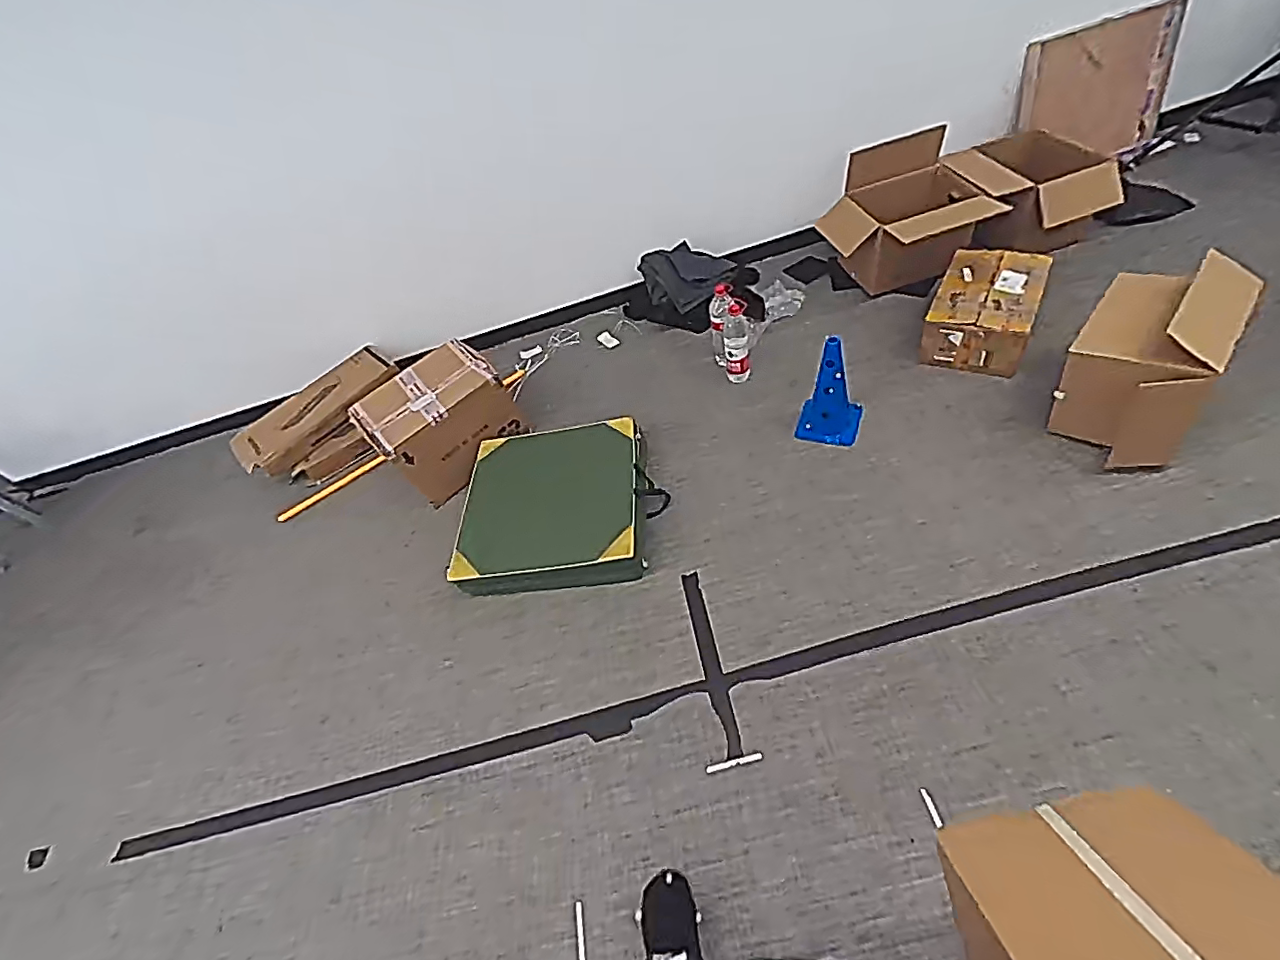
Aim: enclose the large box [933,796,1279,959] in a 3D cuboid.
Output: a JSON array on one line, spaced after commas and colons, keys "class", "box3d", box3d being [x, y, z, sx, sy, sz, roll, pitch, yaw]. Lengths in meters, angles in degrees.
[{"class": "large box", "box3d": [0.591, 0.639, 0.582, 0.320, 0.408, 0.320, -17, 94, 7]}]
